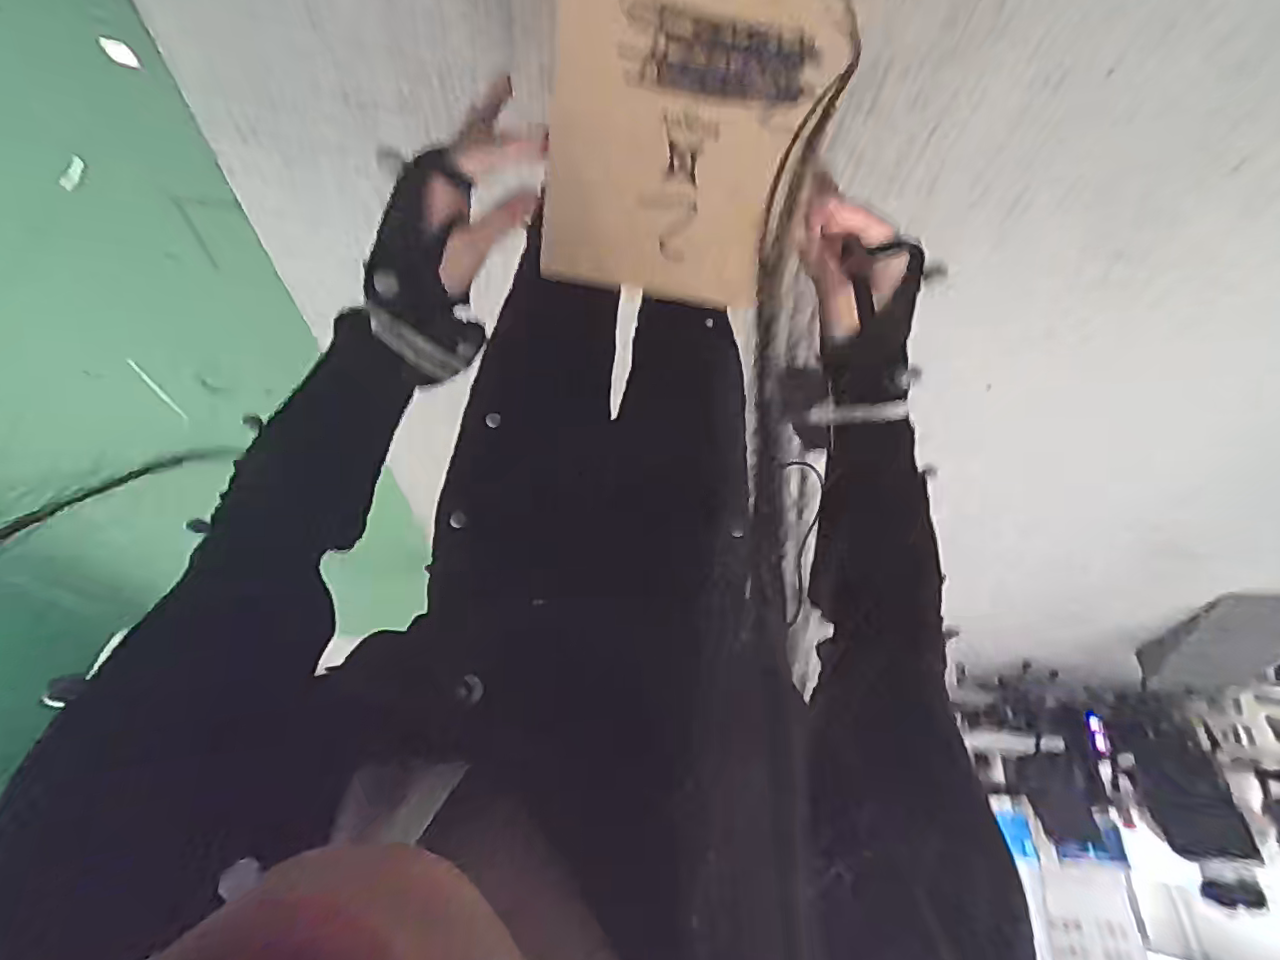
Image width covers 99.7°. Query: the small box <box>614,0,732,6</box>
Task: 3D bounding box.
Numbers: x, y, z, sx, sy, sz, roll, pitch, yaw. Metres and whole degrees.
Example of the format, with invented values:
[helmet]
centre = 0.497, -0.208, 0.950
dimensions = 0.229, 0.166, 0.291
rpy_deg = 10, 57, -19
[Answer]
[small box]
centre = 0.048, -0.735, 0.672
dimensions = 0.168, 0.176, 0.179
rpy_deg = 4, 149, 3
